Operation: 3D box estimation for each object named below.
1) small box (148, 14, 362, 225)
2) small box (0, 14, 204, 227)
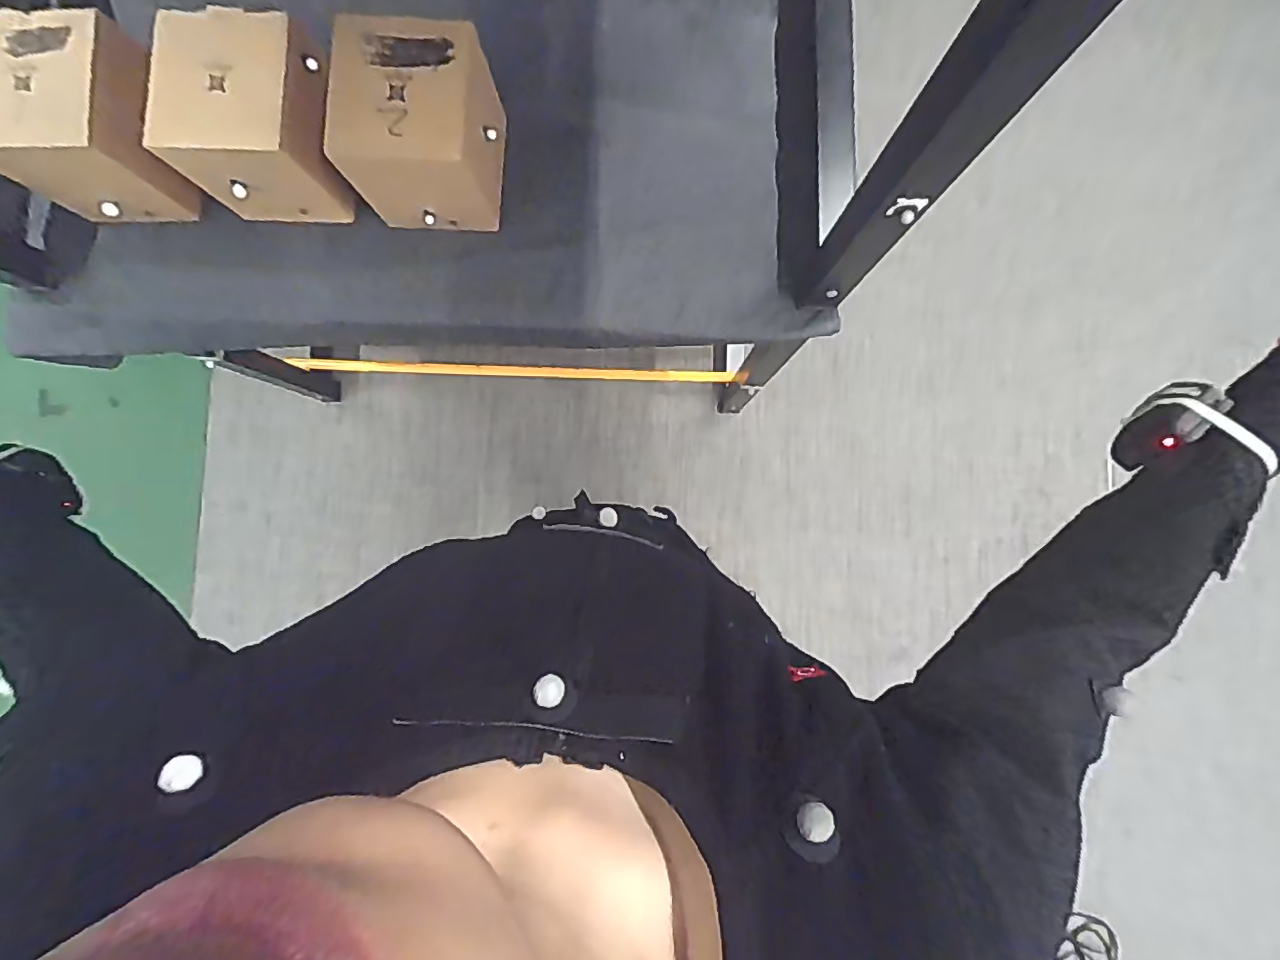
[{"bbox_3d":[-0.497,-0.466,0.724,0.168,0.176,0.179,2,85,0],"label":"small box"},{"bbox_3d":[-0.724,-0.468,0.723,0.168,0.176,0.179,-1,86,0],"label":"small box"}]
